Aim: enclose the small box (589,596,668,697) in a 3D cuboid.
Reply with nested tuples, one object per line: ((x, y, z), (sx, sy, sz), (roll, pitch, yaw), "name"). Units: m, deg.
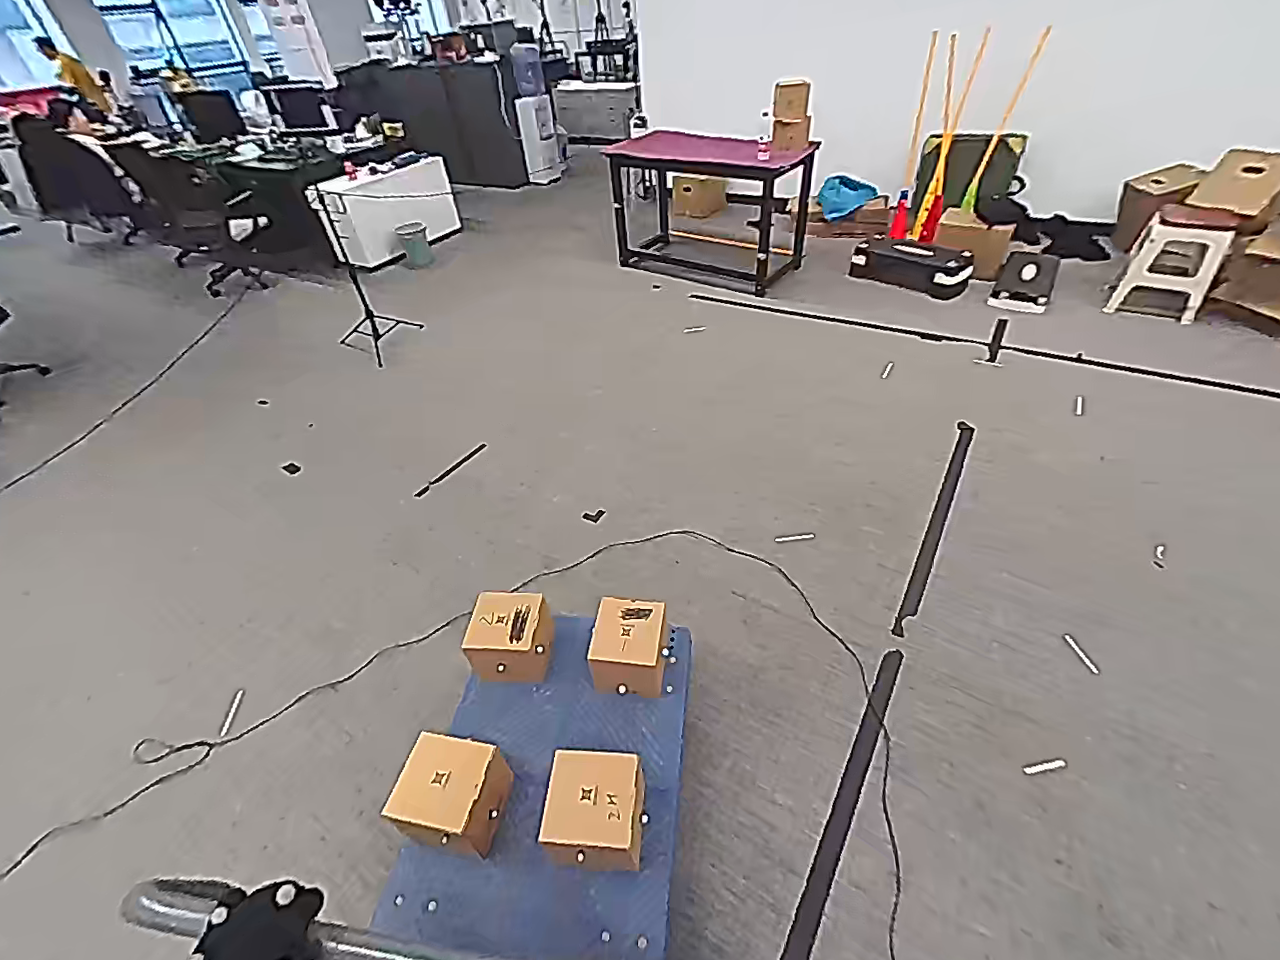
((-0.021, 0.419, 1.365), (0.168, 0.176, 0.179), (4, 44, 10), "small box")

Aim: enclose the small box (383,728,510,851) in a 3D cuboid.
((-0.397, 0.656, 1.145), (0.179, 0.176, 0.168), (6, 43, 10), "small box")

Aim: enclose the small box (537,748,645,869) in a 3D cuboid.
((-0.090, 0.667, 1.098), (0.179, 0.176, 0.168), (1, 43, 7), "small box")
